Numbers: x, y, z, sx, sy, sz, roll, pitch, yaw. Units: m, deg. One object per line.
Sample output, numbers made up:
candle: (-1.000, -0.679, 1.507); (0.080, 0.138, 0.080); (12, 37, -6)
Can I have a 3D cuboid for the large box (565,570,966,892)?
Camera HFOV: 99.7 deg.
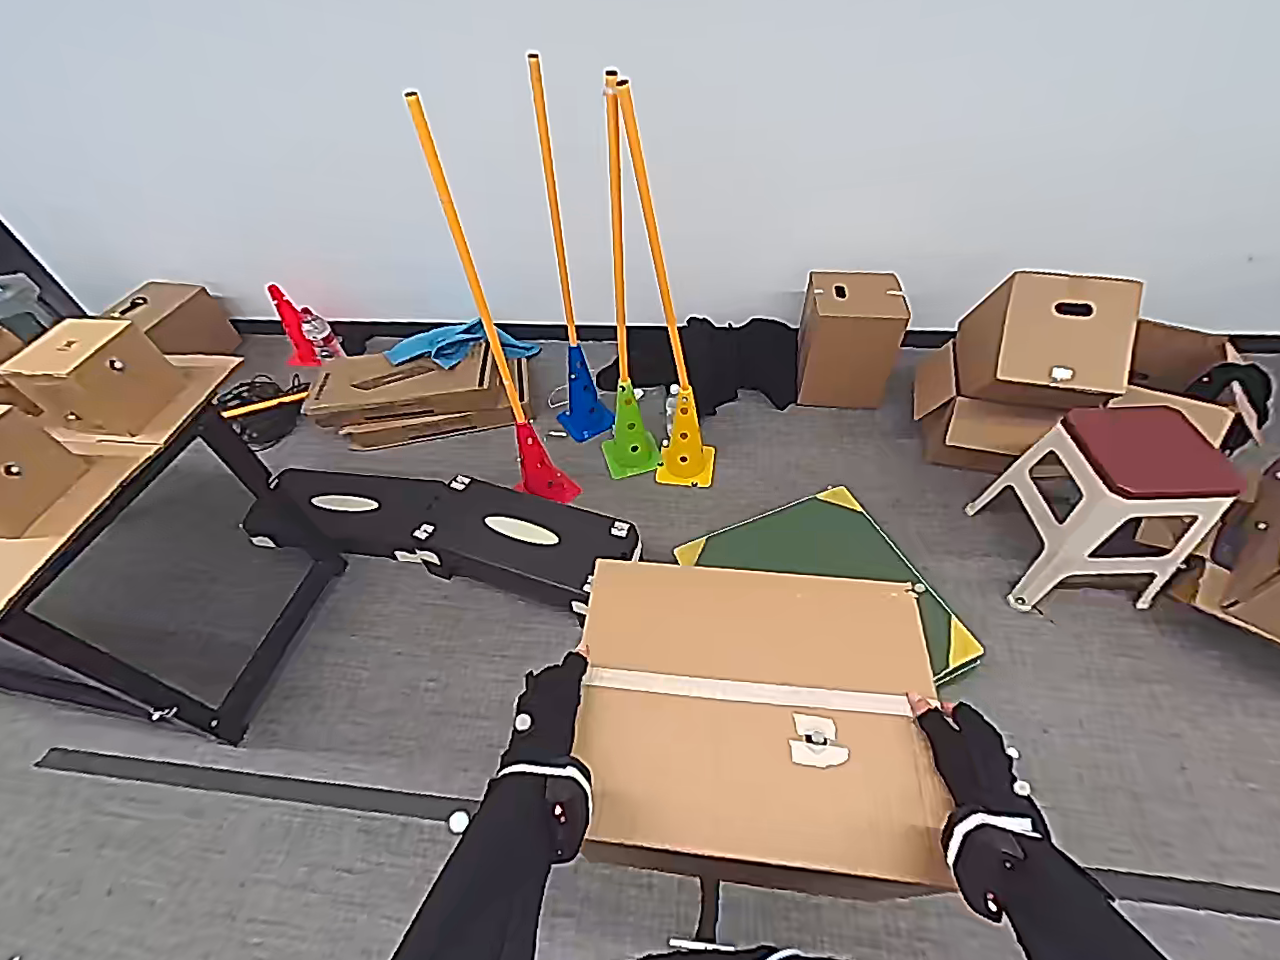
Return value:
large box: (0.135, 0.345, 0.740); (0.408, 0.320, 0.320); (4, 52, 5)
